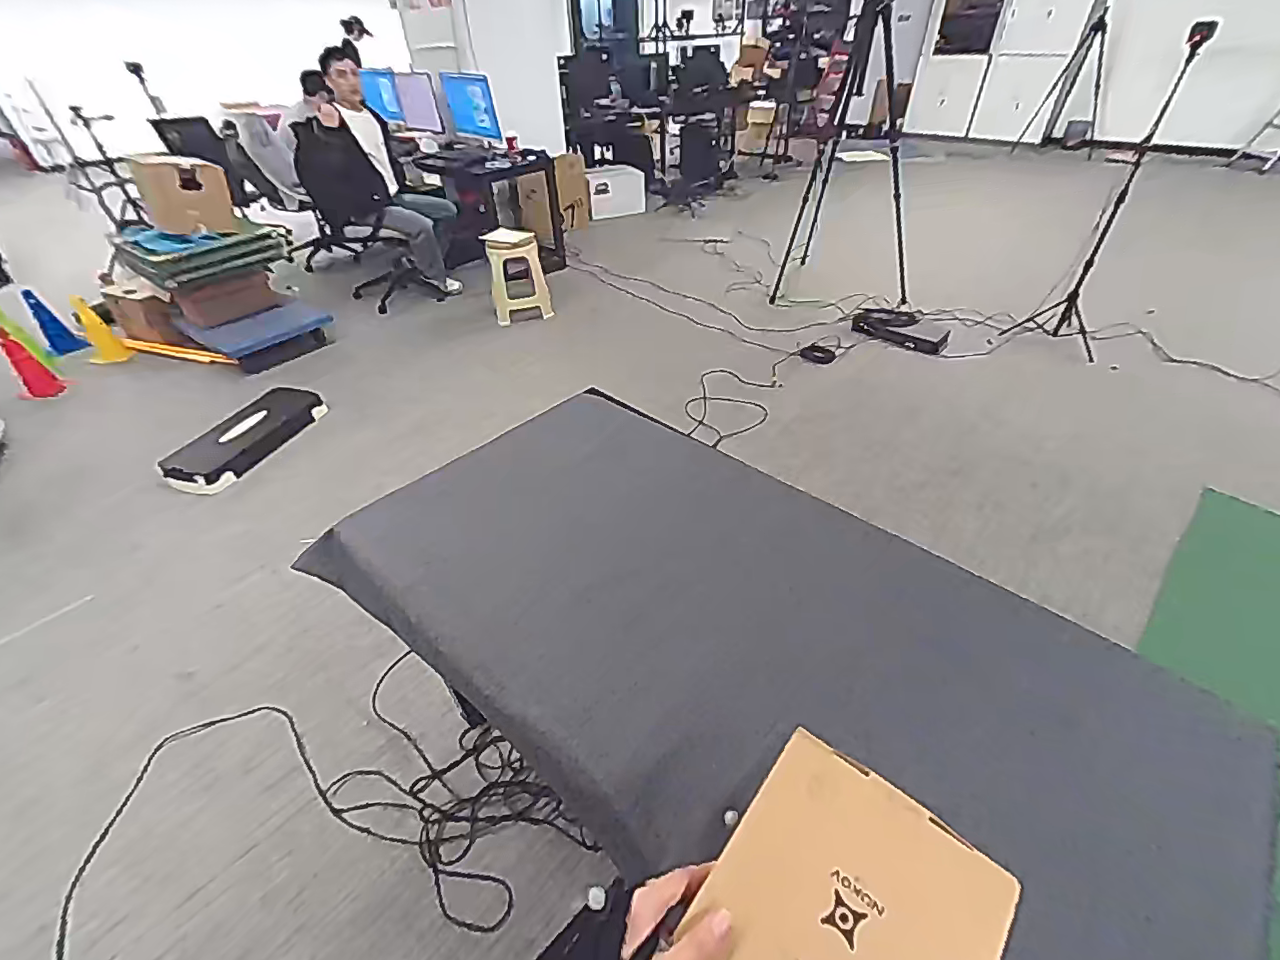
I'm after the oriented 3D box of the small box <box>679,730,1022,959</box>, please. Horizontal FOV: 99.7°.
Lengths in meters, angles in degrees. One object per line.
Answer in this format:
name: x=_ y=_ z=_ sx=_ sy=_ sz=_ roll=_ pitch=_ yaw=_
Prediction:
small box: x=0.146 y=0.338 z=0.414 sx=0.168 sy=0.176 sz=0.179 roll=28 pitch=58 yaw=29
